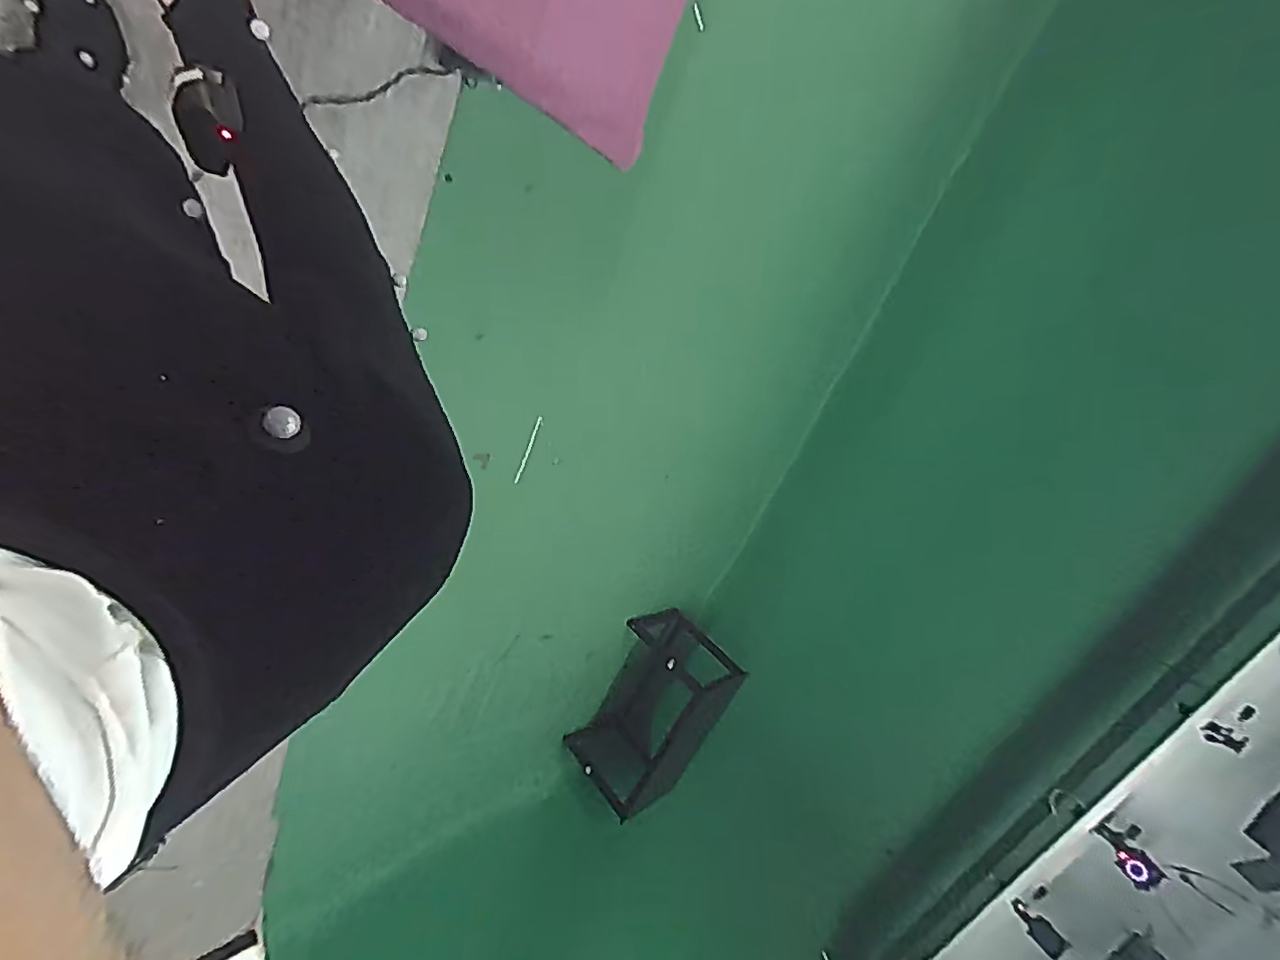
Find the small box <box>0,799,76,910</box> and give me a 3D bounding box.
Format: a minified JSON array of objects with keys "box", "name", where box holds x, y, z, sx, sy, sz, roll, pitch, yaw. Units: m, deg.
[{"box":[-1.692,1.031,1.487,0.179,0.176,0.168,2,120,-52],"name":"small box"}]
